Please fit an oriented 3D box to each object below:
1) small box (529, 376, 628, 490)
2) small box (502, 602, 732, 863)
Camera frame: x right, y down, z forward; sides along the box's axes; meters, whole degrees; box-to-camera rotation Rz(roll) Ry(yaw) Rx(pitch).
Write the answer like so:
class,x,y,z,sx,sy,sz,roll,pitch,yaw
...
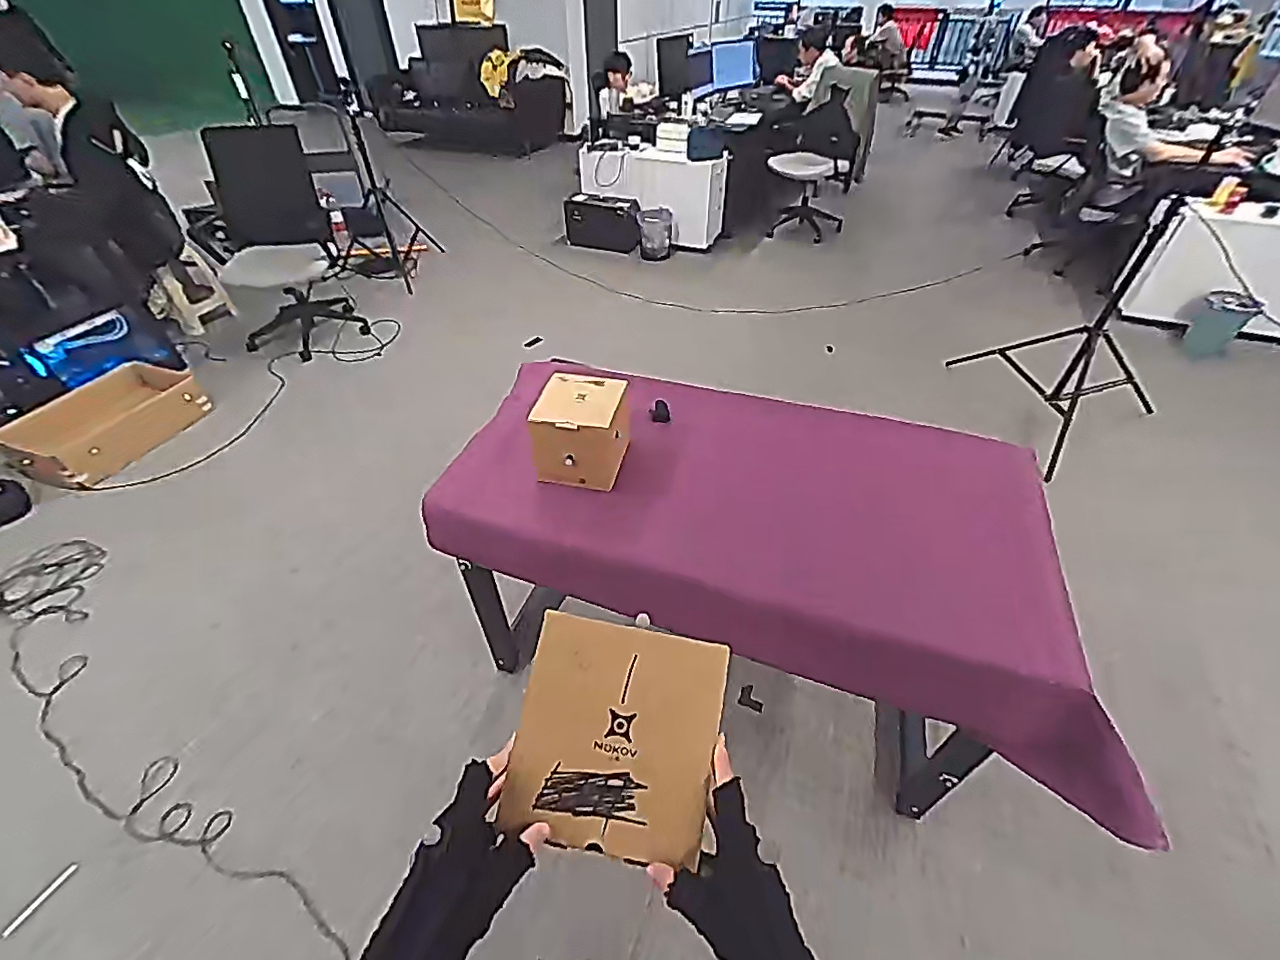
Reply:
class,x,y,z,sx,sy,sz,roll,pitch,yaw
small box,-0.121,-0.099,1.157,0.168,0.176,0.179,8,44,9
small box,-0.017,0.227,0.526,0.168,0.176,0.179,11,73,1
